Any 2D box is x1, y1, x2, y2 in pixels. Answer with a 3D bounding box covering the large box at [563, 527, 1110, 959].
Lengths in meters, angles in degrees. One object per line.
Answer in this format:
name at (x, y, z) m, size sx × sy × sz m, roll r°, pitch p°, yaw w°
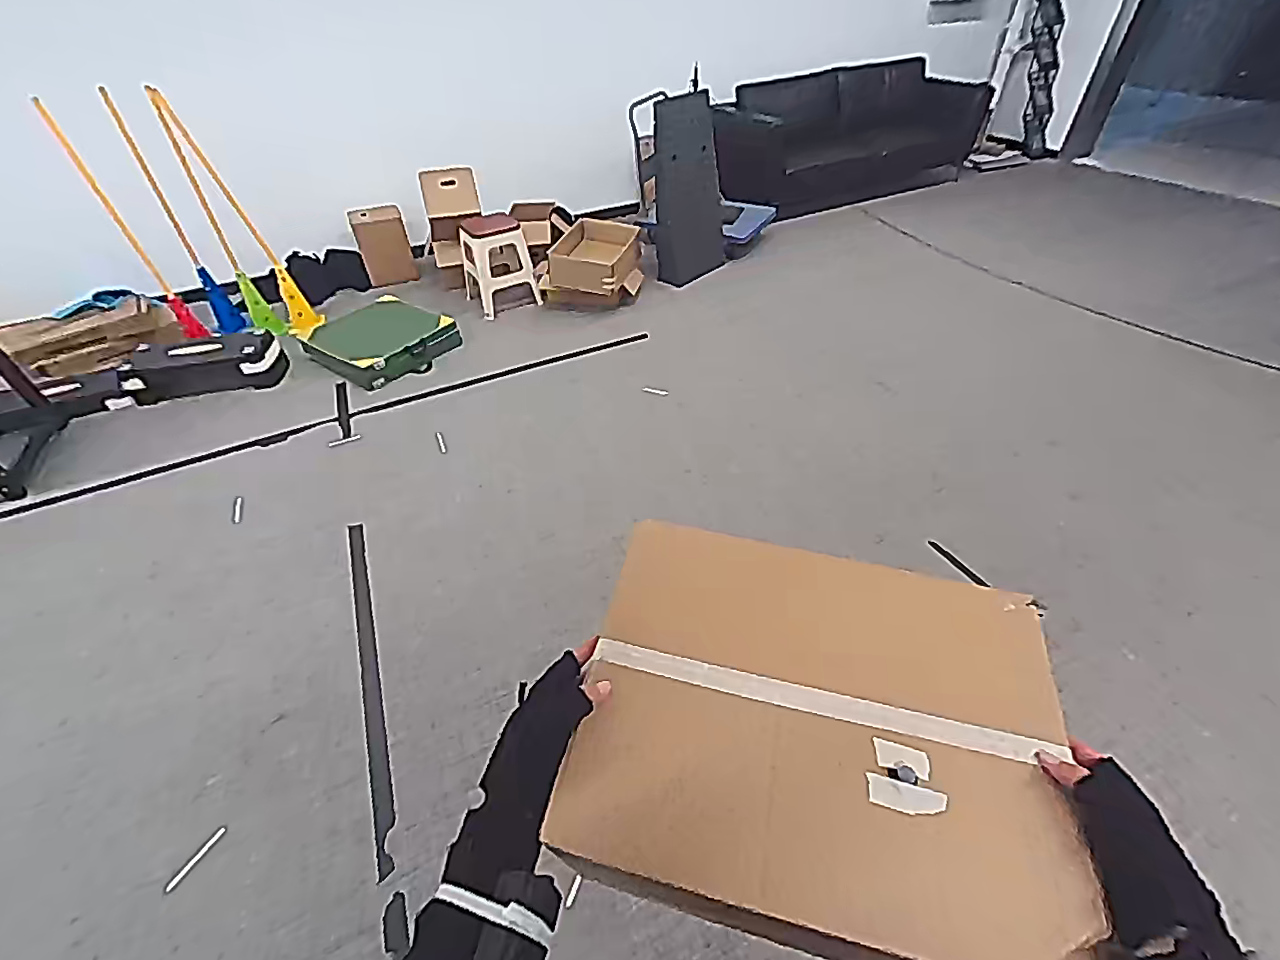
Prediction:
large box at (0.164, 0.295, 0.599) m, size 0.408 × 0.320 × 0.320 m, roll 11°, pitch 52°, yaw 10°
